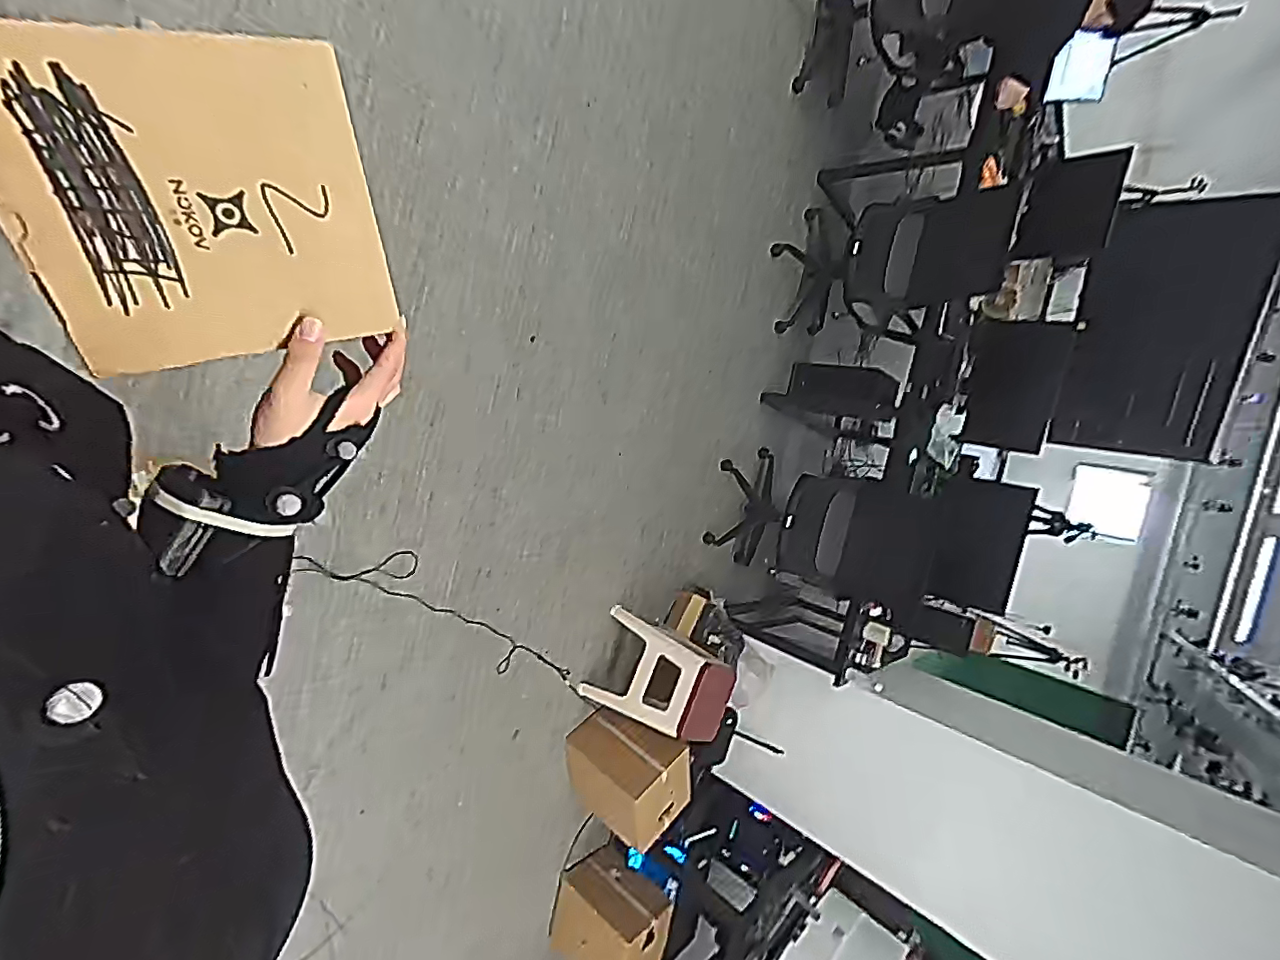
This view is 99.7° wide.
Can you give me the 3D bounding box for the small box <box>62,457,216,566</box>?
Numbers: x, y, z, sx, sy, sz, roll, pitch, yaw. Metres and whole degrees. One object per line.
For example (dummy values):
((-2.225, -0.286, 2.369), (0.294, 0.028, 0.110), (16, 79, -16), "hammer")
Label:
((-0.933, 0.059, 1.007), (0.179, 0.176, 0.168), (11, 93, -50), "small box")
